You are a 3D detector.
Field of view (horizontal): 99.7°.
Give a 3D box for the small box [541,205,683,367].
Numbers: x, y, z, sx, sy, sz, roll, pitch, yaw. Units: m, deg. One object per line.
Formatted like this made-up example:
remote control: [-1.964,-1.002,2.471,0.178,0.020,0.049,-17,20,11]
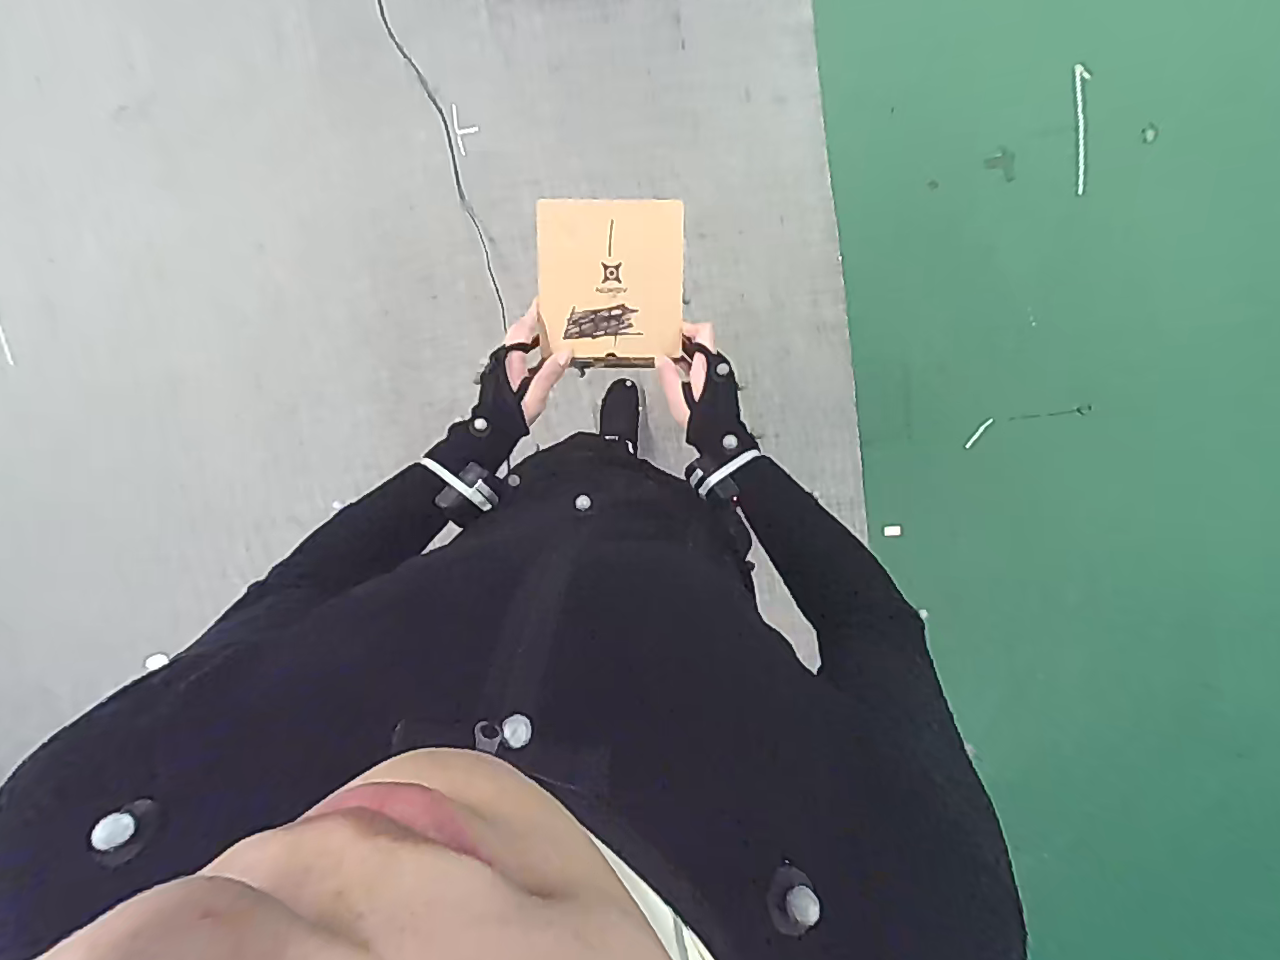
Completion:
small box: [-0.032,-0.239,0.708,0.168,0.176,0.179,0,98,-1]
